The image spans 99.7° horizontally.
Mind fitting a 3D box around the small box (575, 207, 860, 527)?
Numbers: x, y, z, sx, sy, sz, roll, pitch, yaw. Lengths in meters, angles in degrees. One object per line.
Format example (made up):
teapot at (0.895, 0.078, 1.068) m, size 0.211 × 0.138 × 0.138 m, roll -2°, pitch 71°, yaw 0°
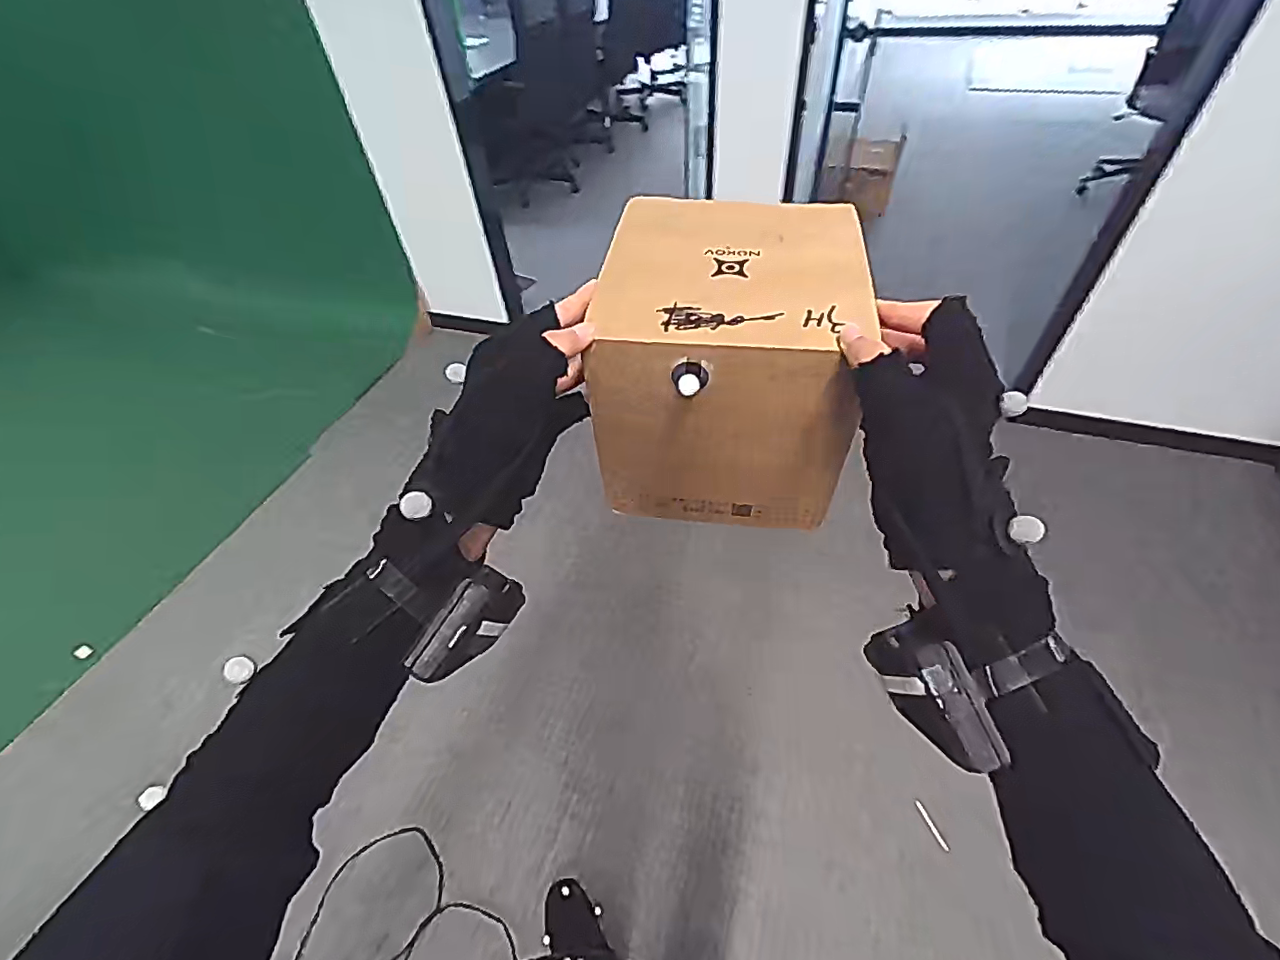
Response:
small box at (0.058, -0.088, 0.418) m, size 0.168 × 0.176 × 0.179 m, roll 5°, pitch 50°, yaw 9°
